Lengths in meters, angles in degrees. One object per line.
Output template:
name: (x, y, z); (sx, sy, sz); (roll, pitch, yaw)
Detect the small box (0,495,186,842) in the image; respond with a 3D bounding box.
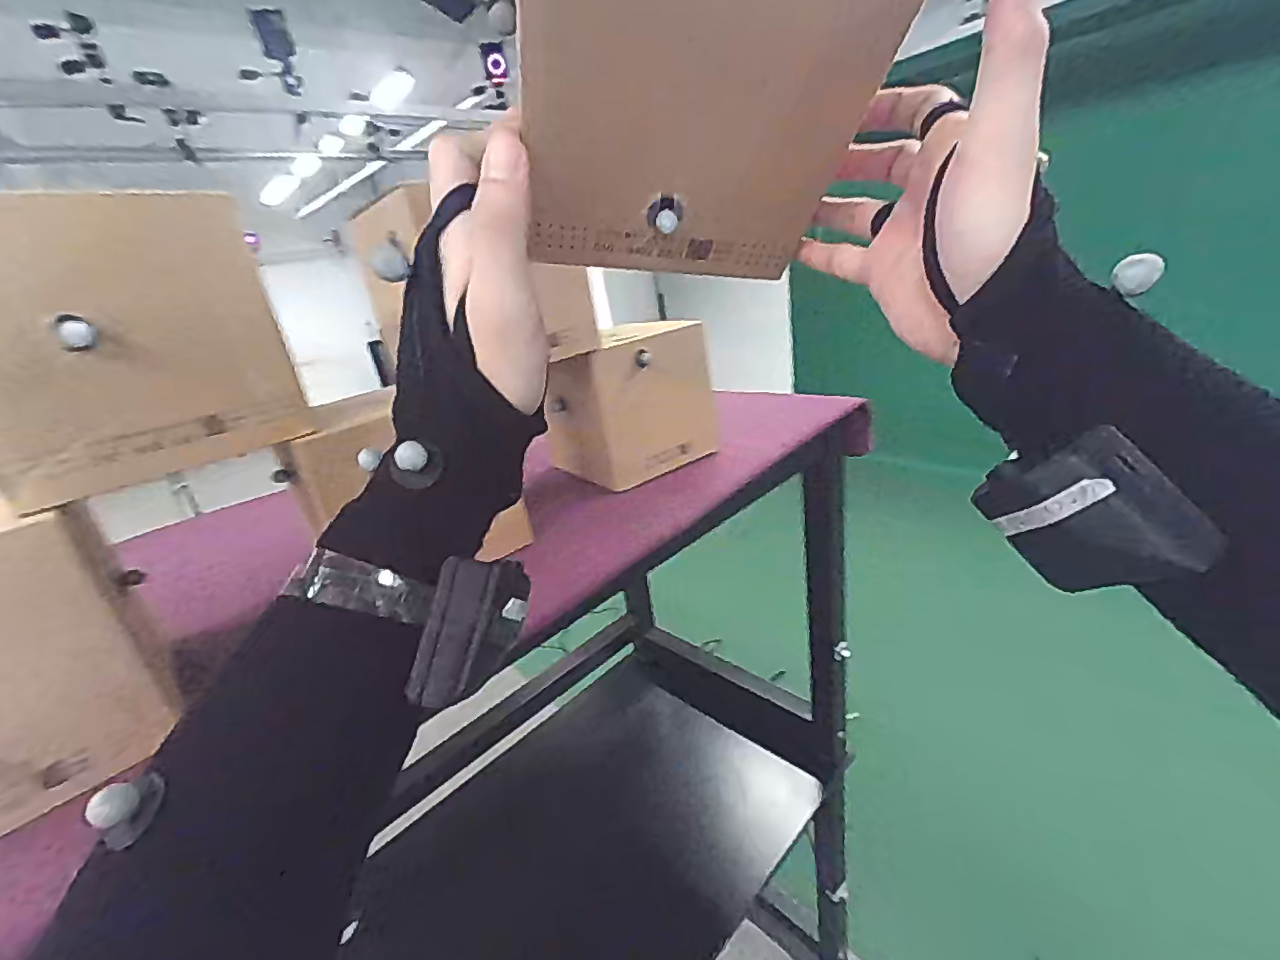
small box: (-0.429, 0.116, 0.344); (0.168, 0.176, 0.179); (-27, 28, -38)

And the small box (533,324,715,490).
small box: (-0.024, -0.100, 0.708); (0.168, 0.176, 0.179); (-24, 24, -29)

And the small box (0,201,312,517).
small box: (-0.371, -0.086, 0.386); (0.179, 0.176, 0.168); (8, 27, 41)

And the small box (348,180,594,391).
small box: (-0.169, -0.195, 0.561); (0.168, 0.176, 0.179); (-26, 26, -34)

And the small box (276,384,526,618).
small box: (-0.238, 0.008, 0.535); (0.168, 0.176, 0.179); (-27, 27, -34)
